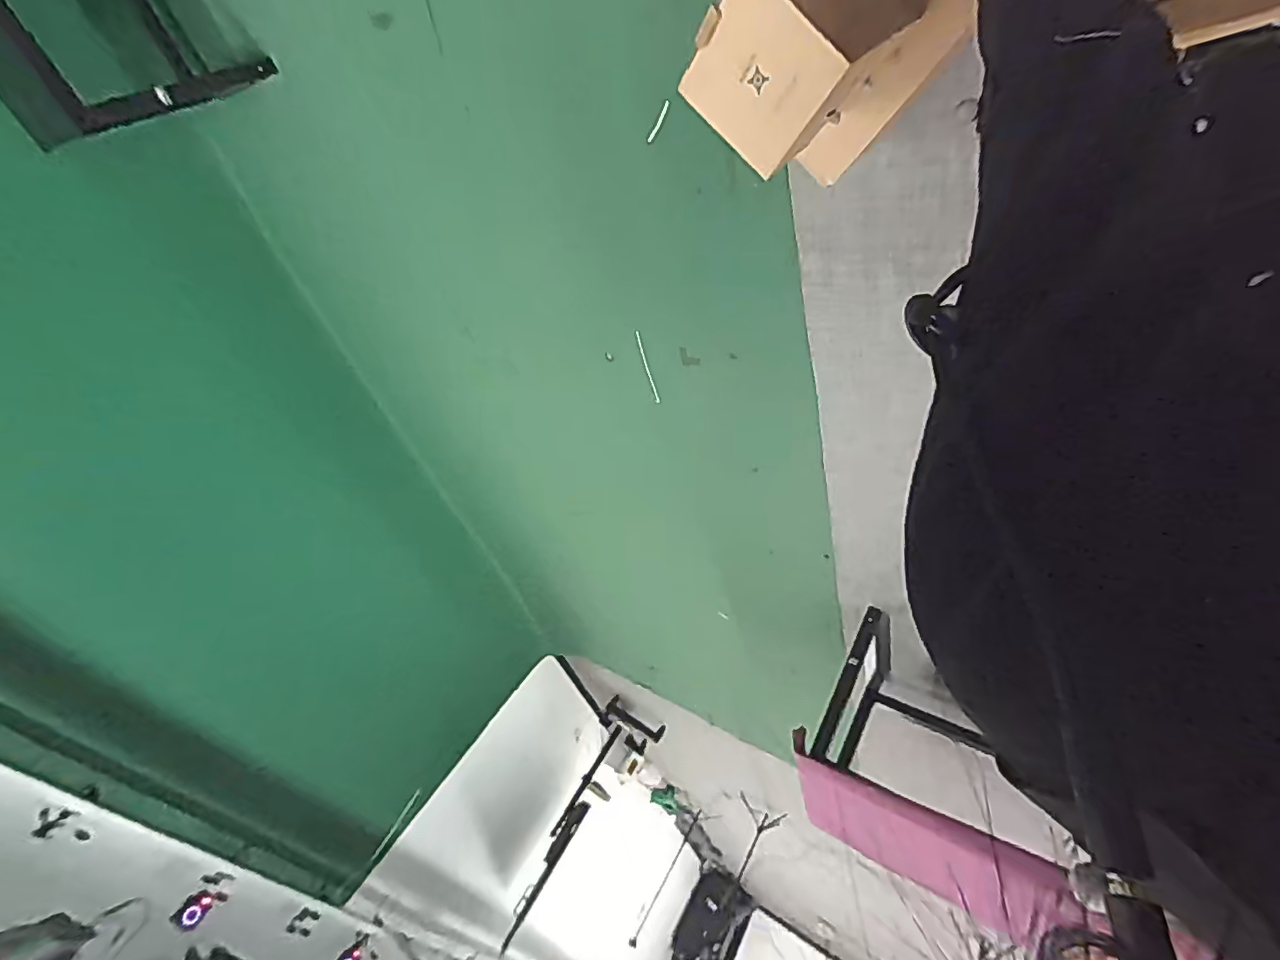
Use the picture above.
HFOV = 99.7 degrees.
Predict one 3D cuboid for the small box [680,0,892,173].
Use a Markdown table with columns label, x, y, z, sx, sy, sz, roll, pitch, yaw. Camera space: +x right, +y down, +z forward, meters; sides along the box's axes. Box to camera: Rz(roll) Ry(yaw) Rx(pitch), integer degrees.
| label | x | y | z | sx | sy | sz | roll | pitch | yaw |
| --- | --- | --- | --- | --- | --- | --- | --- | --- | --- |
| small box | 0.192 | -0.558 | 0.714 | 0.179 | 0.176 | 0.168 | 43 | 149 | -4 |

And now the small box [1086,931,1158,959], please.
| label | x | y | z | sx | sy | sz | roll | pitch | yaw |
| --- | --- | --- | --- | --- | --- | --- | --- | --- | --- |
| small box | 1.270 | 1.323 | 1.396 | 0.168 | 0.176 | 0.179 | 15 | 139 | 35 |

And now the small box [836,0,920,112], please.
| label | x | y | z | sx | sy | sz | roll | pitch | yaw |
| --- | --- | --- | --- | --- | --- | --- | --- | --- | --- |
| small box | 0.276 | -0.665 | 0.805 | 0.179 | 0.176 | 0.168 | 44 | 148 | -7 |
